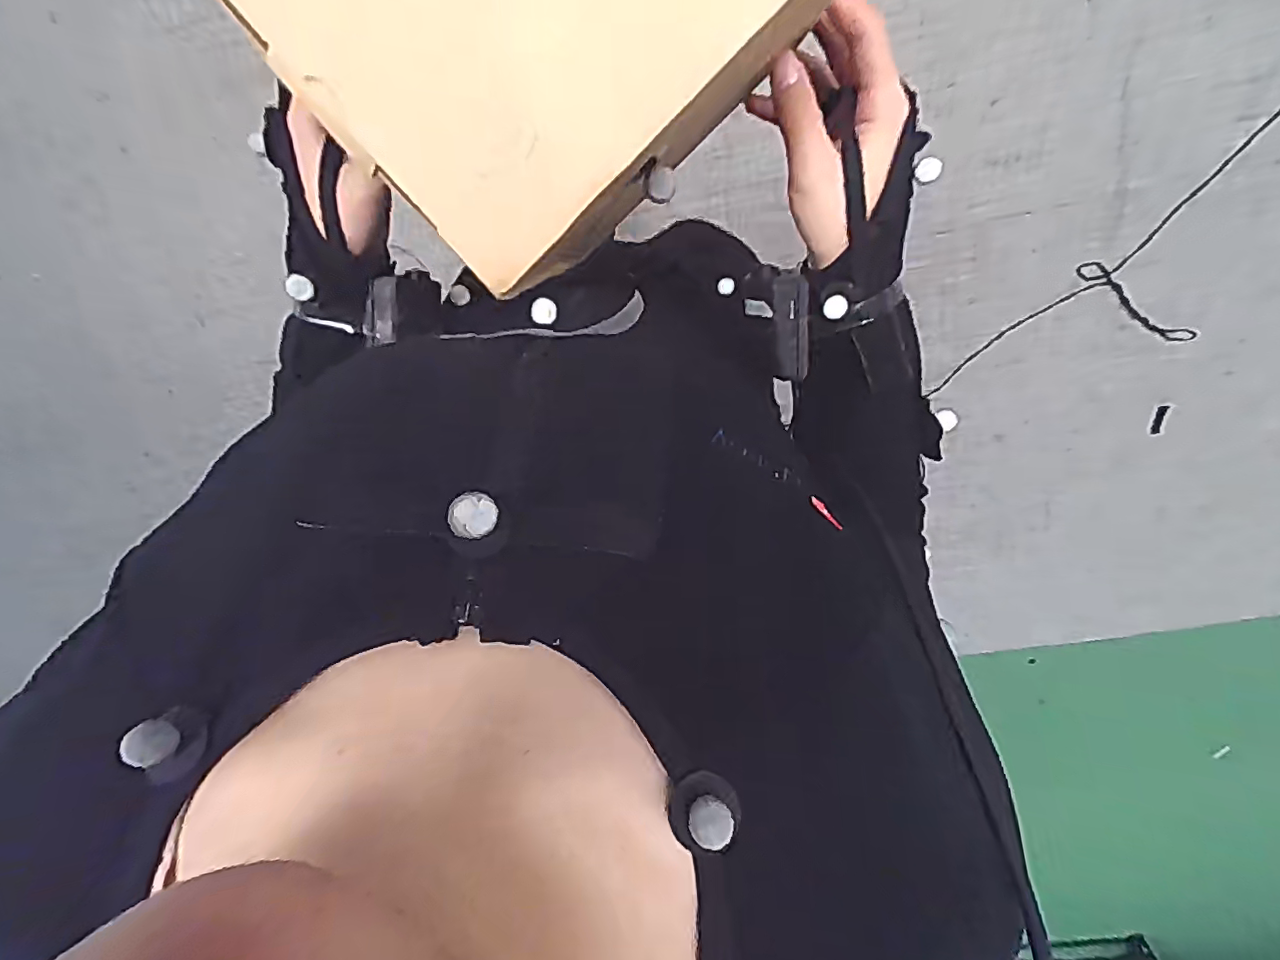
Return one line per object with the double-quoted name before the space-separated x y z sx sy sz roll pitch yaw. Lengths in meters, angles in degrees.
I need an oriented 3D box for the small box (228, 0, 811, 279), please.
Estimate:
"small box" -0.036 -0.212 0.222 0.179 0.176 0.168 -37 108 20
